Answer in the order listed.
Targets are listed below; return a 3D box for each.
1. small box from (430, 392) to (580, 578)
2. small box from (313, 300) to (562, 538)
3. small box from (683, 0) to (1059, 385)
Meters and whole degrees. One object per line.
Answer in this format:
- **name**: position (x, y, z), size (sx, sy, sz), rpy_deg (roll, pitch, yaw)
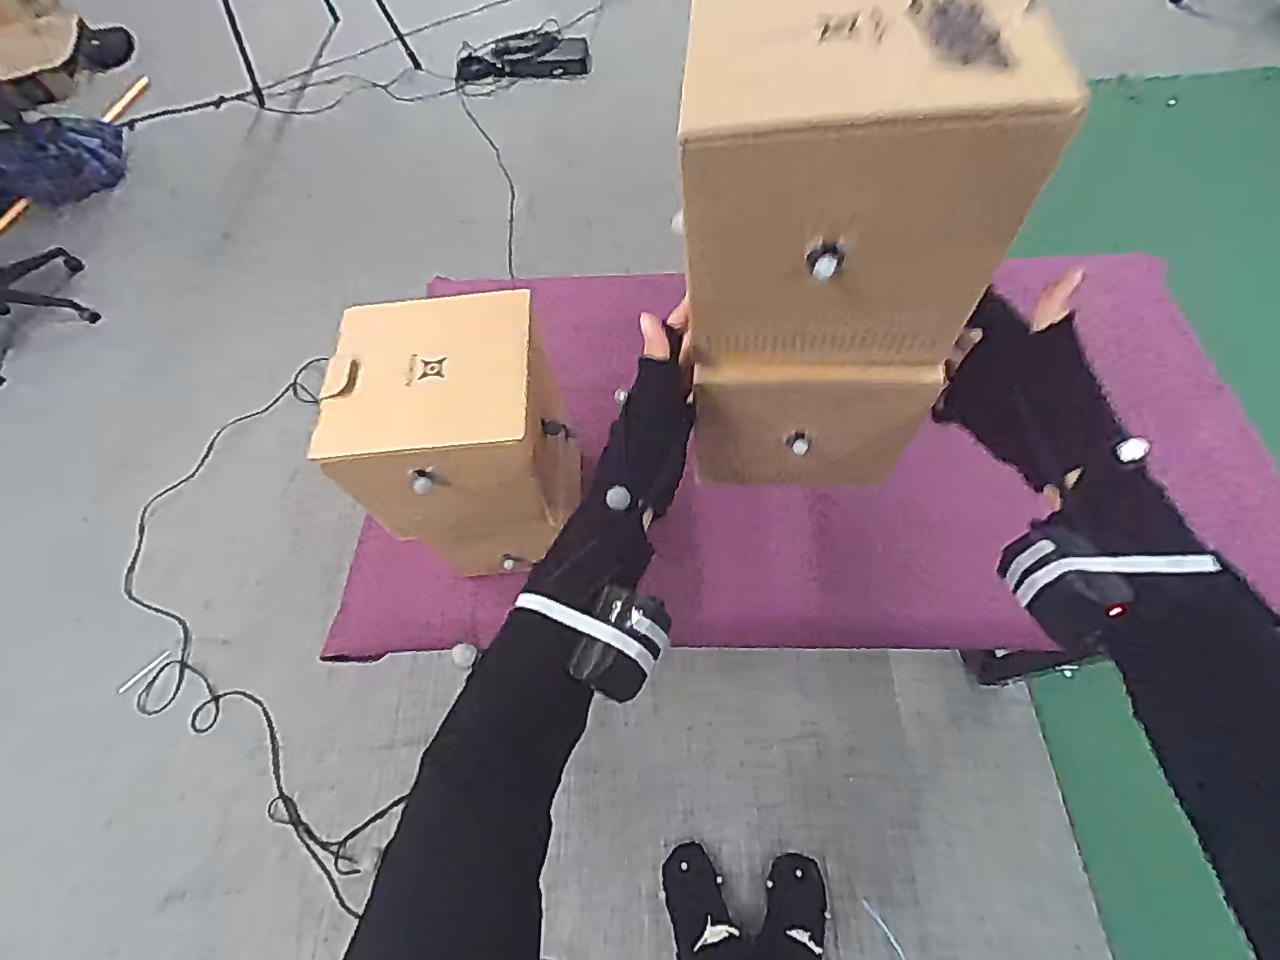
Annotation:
- **small box**: position (-0.170, 0.010, 0.685), size (0.168, 0.176, 0.179), rpy_deg (-5, 62, 0)
- **small box**: position (-0.175, -0.051, 0.534), size (0.179, 0.176, 0.168), rpy_deg (-5, 62, 1)
- **small box**: position (0.126, -0.178, 0.366), size (0.179, 0.176, 0.168), rpy_deg (2, 62, 10)
